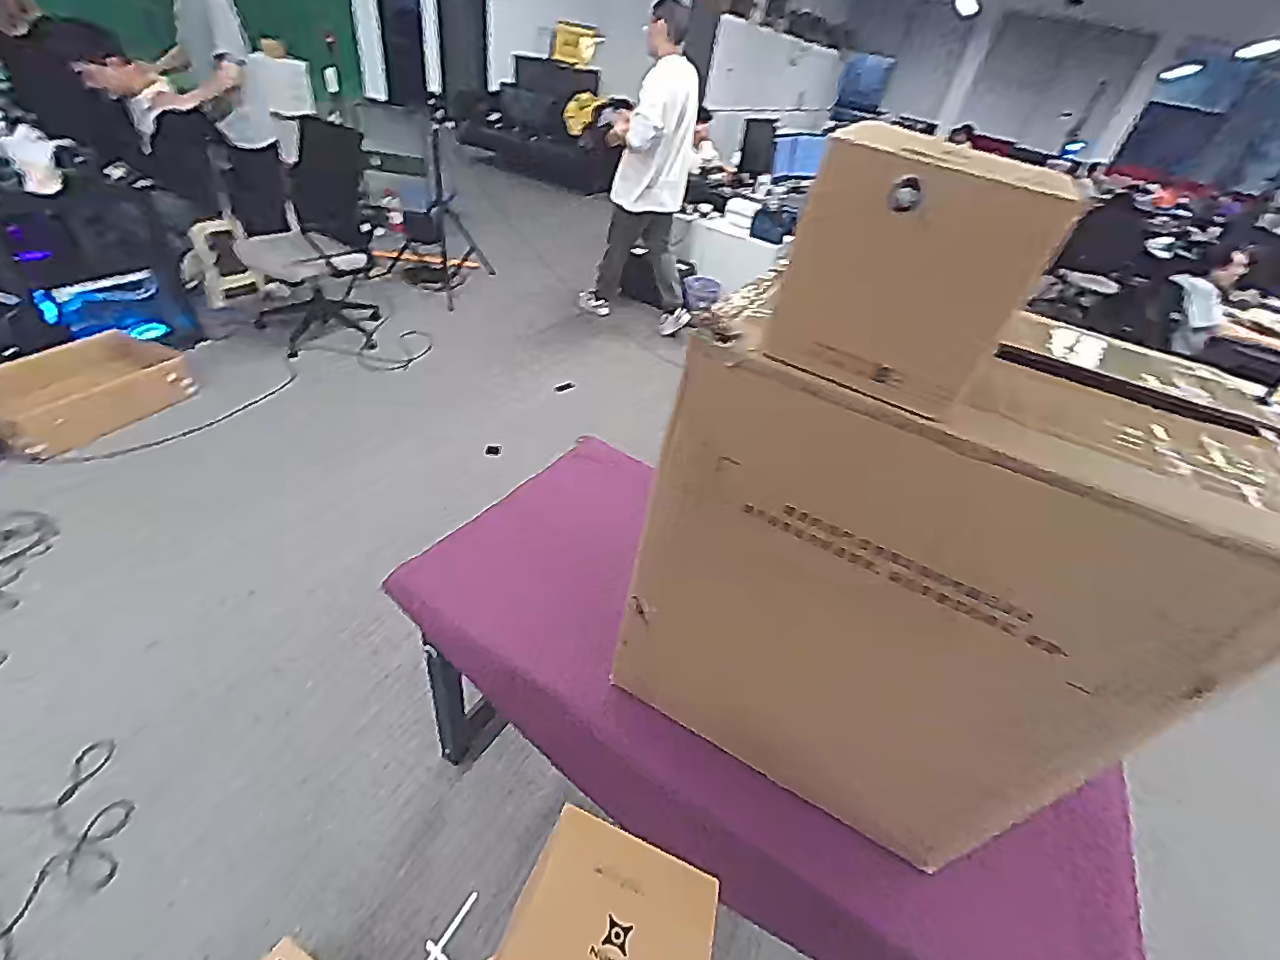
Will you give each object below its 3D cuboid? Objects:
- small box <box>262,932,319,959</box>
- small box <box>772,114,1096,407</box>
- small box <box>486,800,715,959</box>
[{"bbox_3d":[-0.636,0.979,0.975,0.179,0.176,0.168,26,41,16],"label":"small box"},{"bbox_3d":[0.230,-0.190,0.459,0.168,0.176,0.179,26,41,16],"label":"small box"},{"bbox_3d":[-0.050,0.440,0.473,0.168,0.176,0.179,25,23,4],"label":"small box"}]
